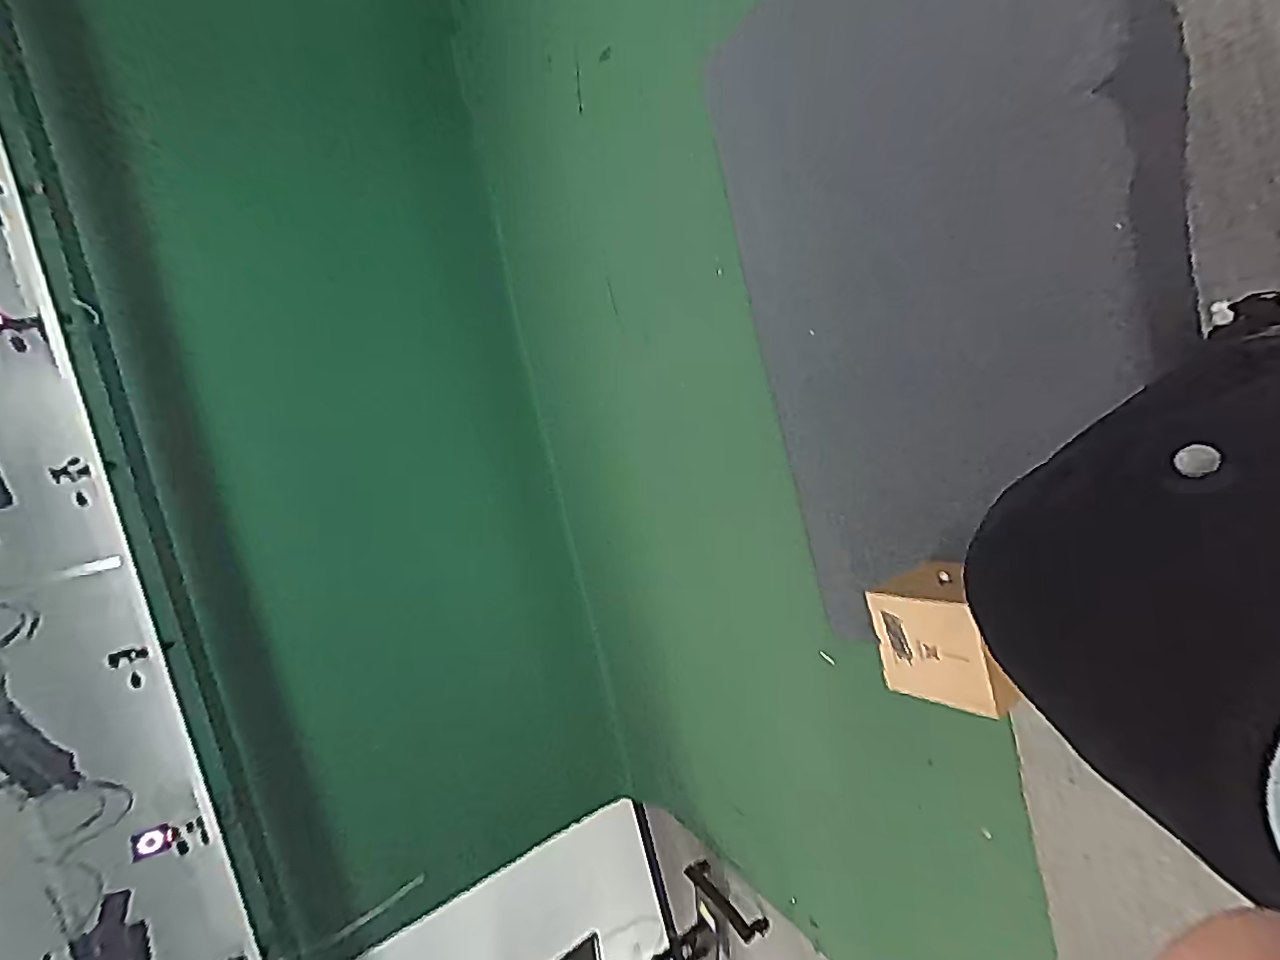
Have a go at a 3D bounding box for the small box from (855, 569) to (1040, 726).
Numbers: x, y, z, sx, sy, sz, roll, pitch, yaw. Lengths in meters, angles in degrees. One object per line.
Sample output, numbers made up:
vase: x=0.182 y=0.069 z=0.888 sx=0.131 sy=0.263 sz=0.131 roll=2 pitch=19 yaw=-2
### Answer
small box: x=0.473 y=0.244 z=0.839 sx=0.179 sy=0.176 sz=0.168 roll=-10 pitch=95 yaw=60
